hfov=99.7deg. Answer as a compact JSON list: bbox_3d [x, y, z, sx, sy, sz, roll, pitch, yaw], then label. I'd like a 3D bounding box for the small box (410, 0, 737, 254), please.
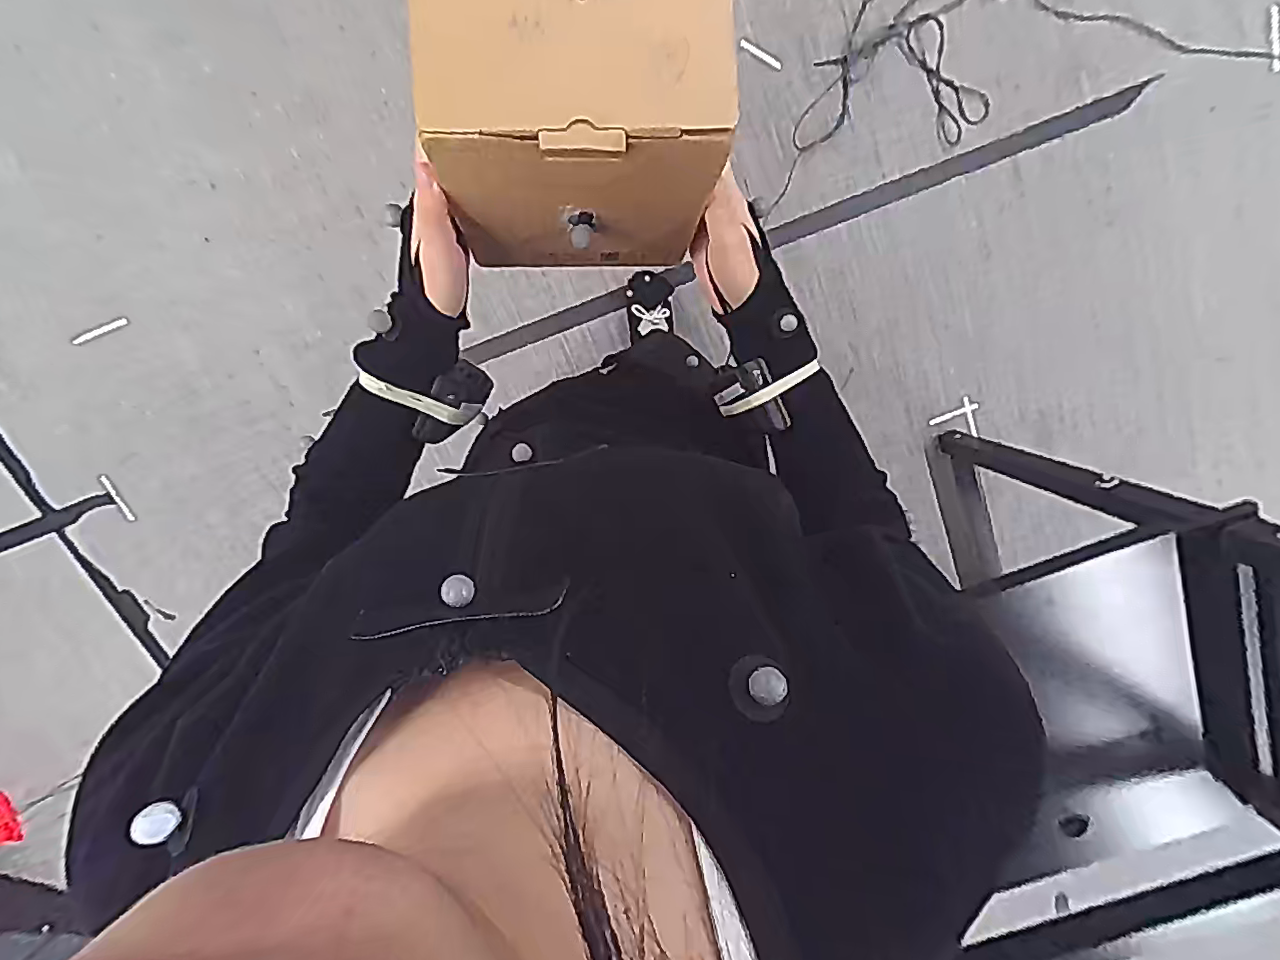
[{"bbox_3d":[-0.041,-0.261,0.352,0.168,0.176,0.179,-3,91,-6],"label":"small box"}]
